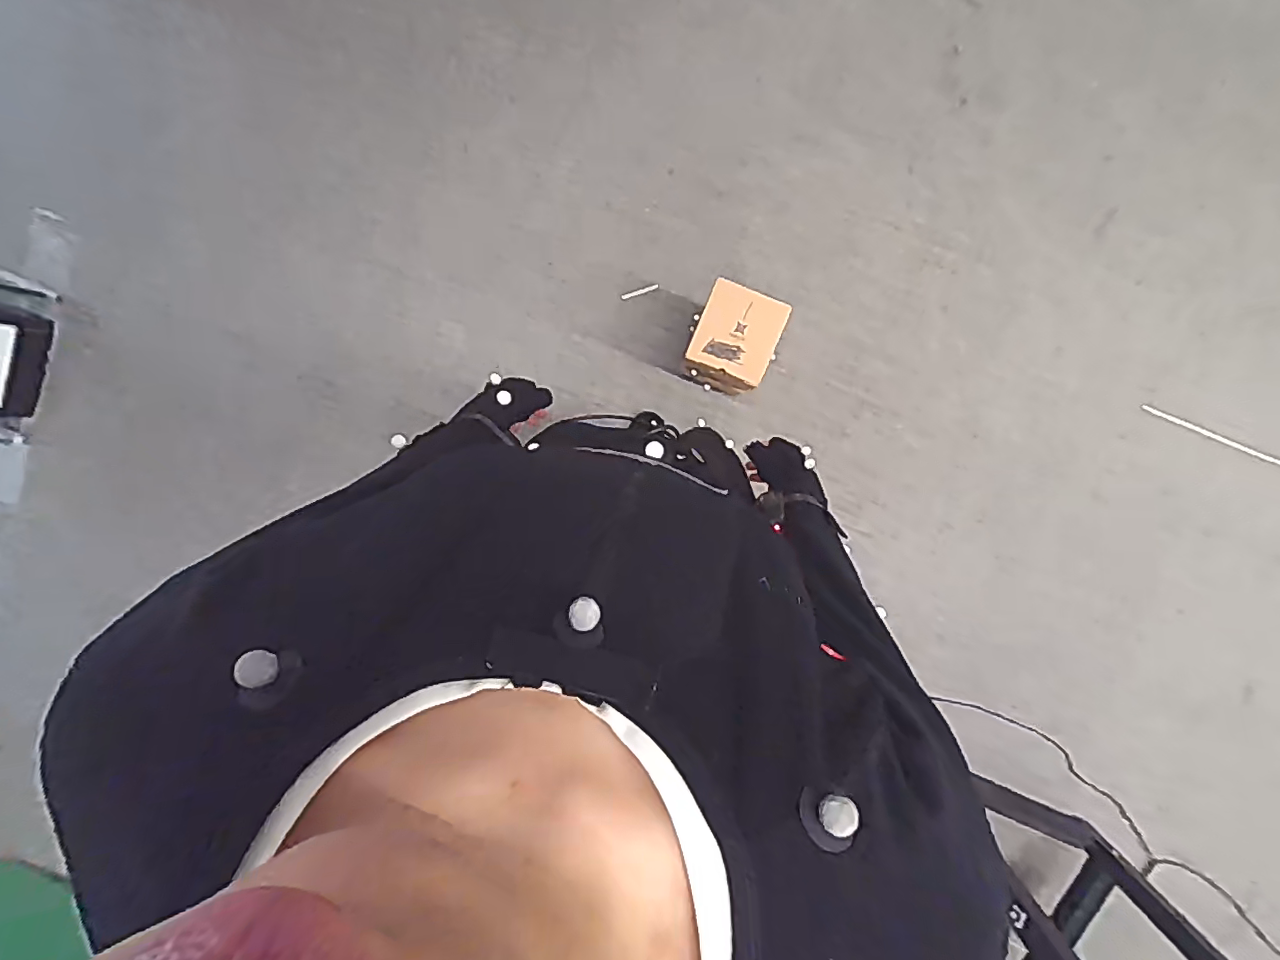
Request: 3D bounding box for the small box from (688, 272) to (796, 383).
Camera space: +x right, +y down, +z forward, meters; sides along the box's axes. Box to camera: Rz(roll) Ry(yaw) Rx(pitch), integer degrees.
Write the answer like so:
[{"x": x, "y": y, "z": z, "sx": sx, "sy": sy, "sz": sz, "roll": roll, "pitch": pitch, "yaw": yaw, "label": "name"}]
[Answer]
[{"x": 0.212, "y": -0.318, "z": 1.170, "sx": 0.168, "sy": 0.176, "sz": 0.179, "roll": 22, "pitch": 98, "yaw": 0, "label": "small box"}]
